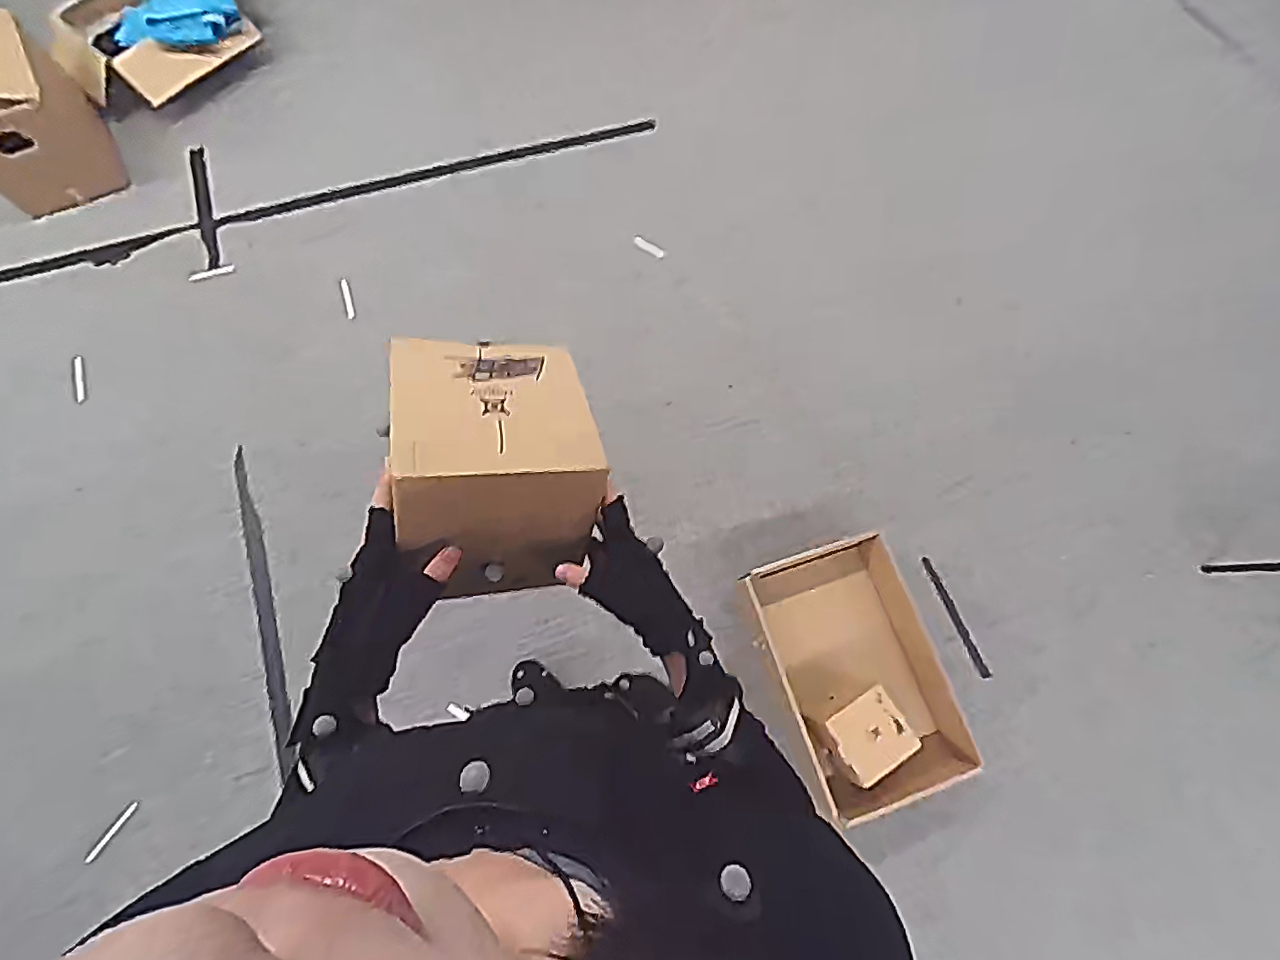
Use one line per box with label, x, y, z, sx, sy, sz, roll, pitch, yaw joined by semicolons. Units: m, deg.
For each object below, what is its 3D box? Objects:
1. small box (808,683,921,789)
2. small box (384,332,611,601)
small box;0.542;0.624;1.340;0.179;0.176;0.168;-29;77;-11
small box;-0.142;-0.014;0.500;0.168;0.176;0.179;-4;47;-22
